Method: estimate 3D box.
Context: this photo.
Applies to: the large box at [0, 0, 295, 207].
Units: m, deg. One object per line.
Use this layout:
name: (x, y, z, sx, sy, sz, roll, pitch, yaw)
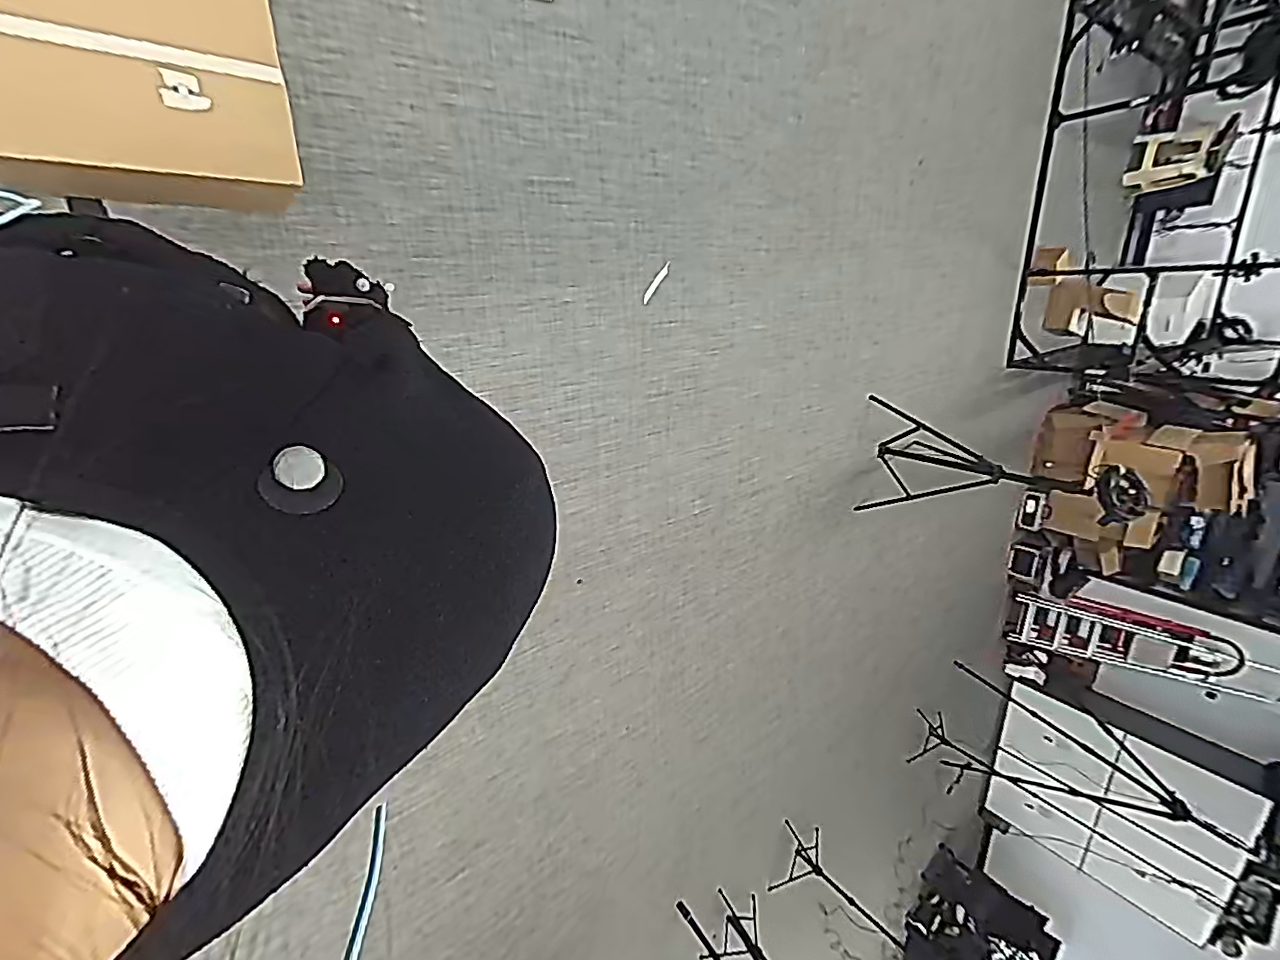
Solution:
large box: (-0.838, -0.643, 0.867, 0.408, 0.320, 0.320, -15, 113, -36)
